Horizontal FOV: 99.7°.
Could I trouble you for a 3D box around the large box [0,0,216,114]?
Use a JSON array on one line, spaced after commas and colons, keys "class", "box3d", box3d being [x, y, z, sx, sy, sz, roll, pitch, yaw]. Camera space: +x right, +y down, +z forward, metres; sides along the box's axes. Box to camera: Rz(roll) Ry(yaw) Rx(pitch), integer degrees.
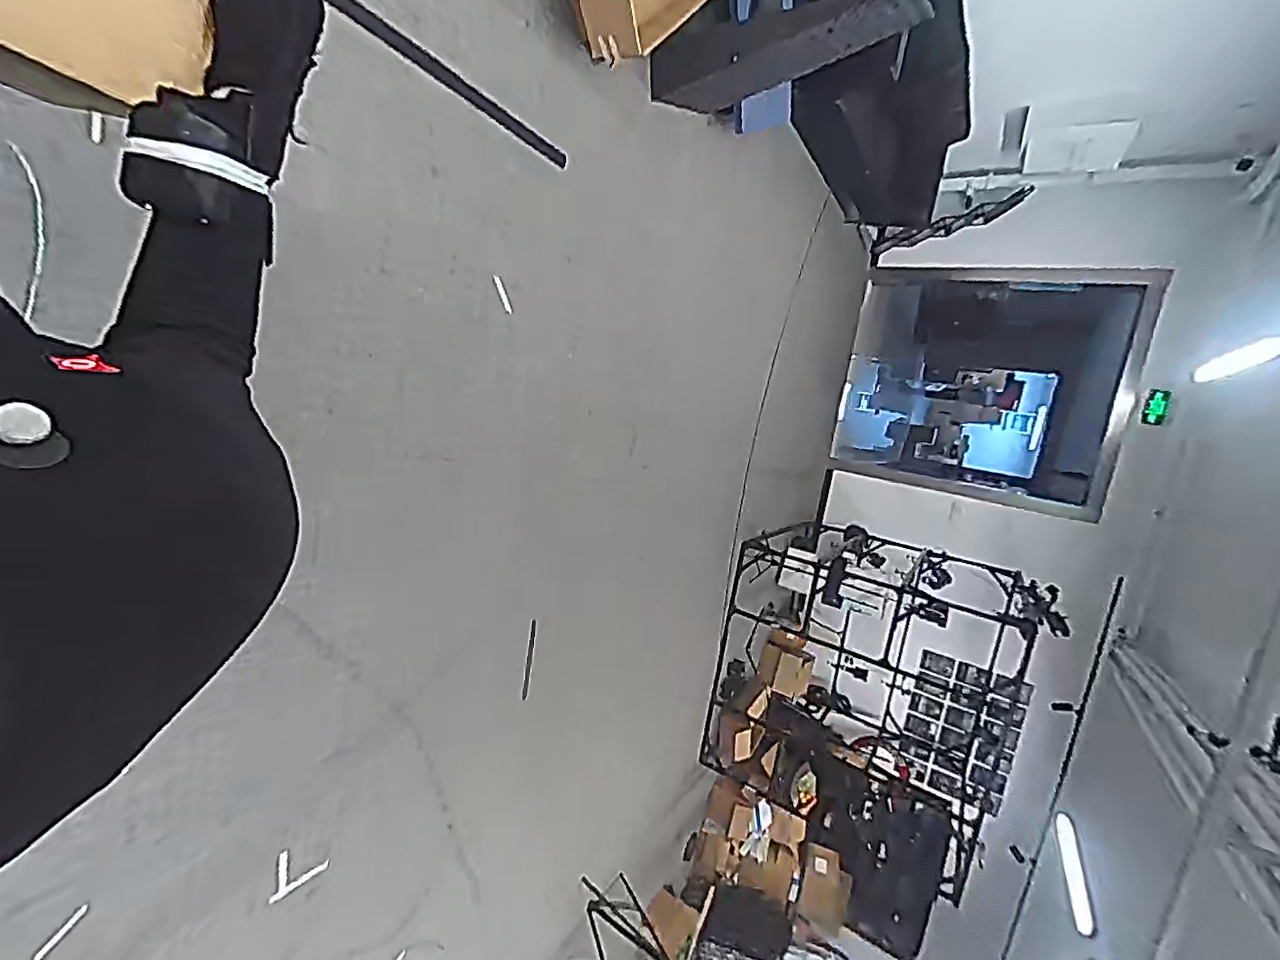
[{"class": "large box", "box3d": [-0.490, -0.457, 0.256, 0.408, 0.320, 0.320, -1, 115, -61]}]
